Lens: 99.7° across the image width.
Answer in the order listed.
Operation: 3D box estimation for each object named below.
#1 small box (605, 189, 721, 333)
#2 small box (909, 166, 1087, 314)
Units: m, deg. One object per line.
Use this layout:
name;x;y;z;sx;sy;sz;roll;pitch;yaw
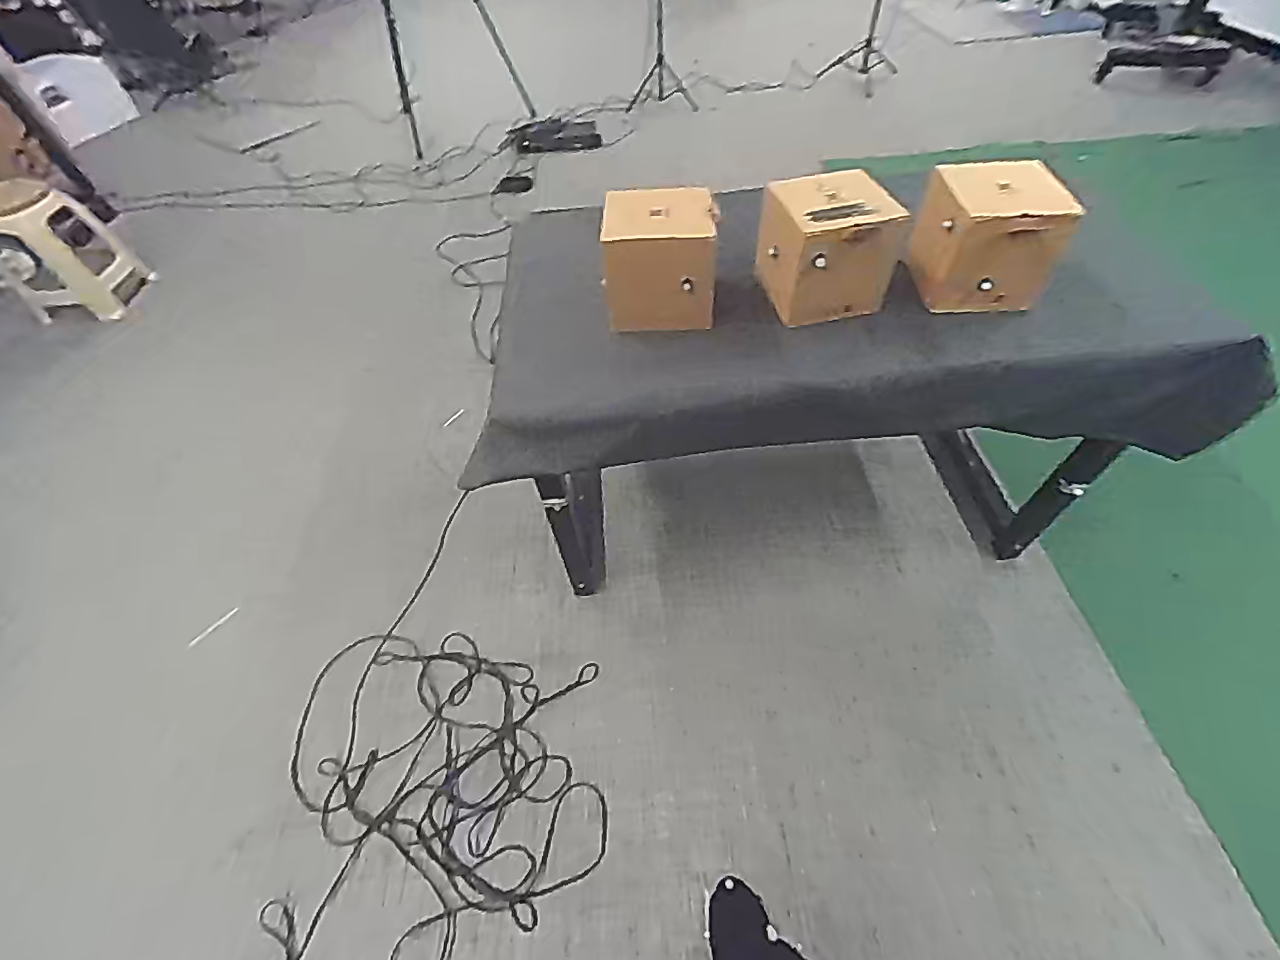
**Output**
small box;0.040;-0.365;0.914;0.179;0.176;0.168;-2;51;4
small box;0.576;-0.399;0.904;0.168;0.176;0.179;0;53;3
